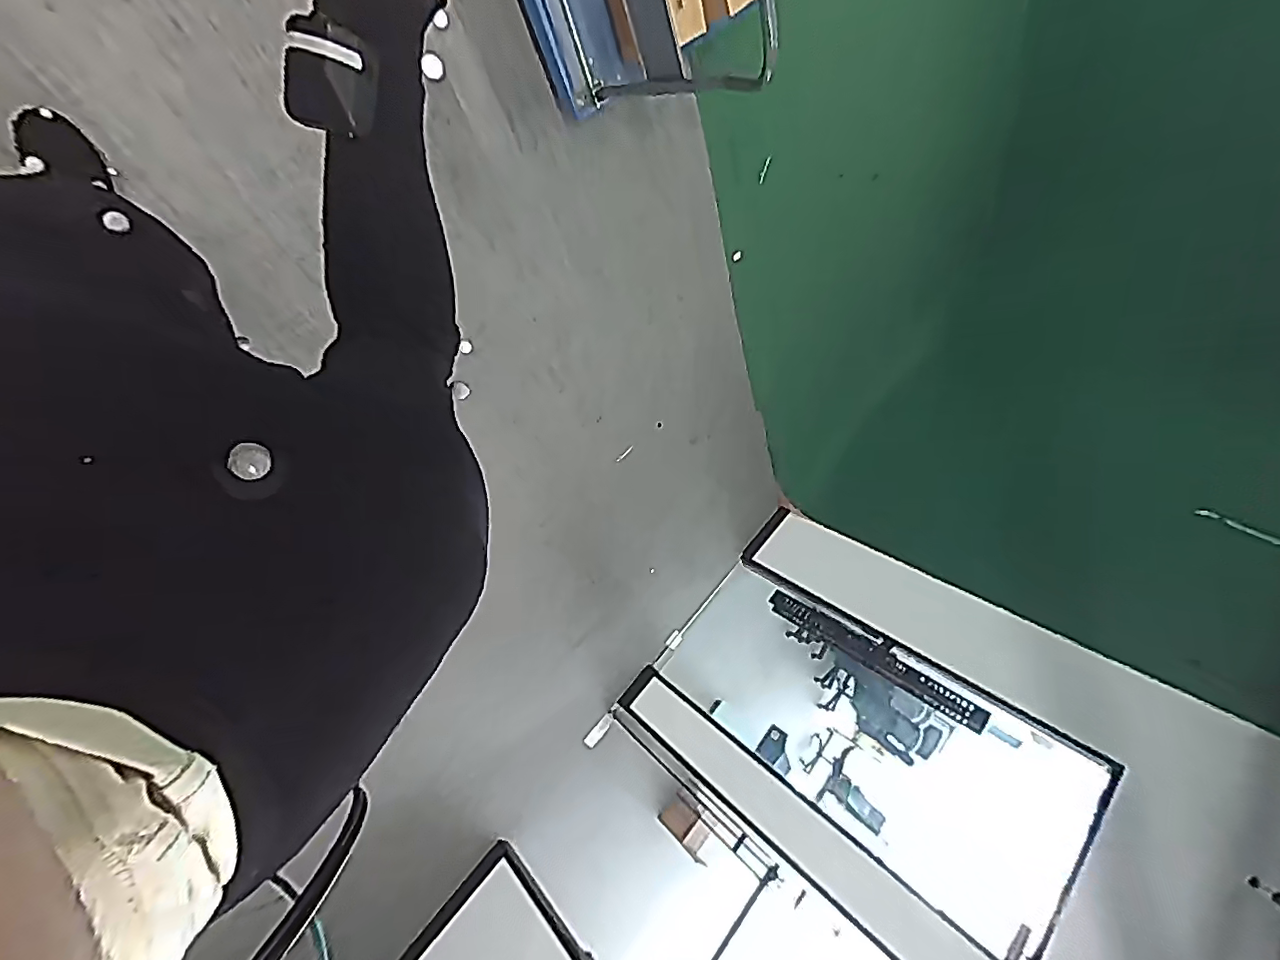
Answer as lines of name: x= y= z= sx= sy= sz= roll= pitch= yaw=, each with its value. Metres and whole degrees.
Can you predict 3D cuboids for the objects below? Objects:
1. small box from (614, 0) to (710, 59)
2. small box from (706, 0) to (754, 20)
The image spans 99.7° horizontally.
small box: x=0.059 y=-1.269 z=1.454 sx=0.179 sy=0.176 sz=0.168 roll=-44 pitch=137 yaw=-19
small box: x=0.241 y=-1.450 z=1.538 sx=0.179 sy=0.176 sz=0.168 roll=-47 pitch=137 yaw=-15
